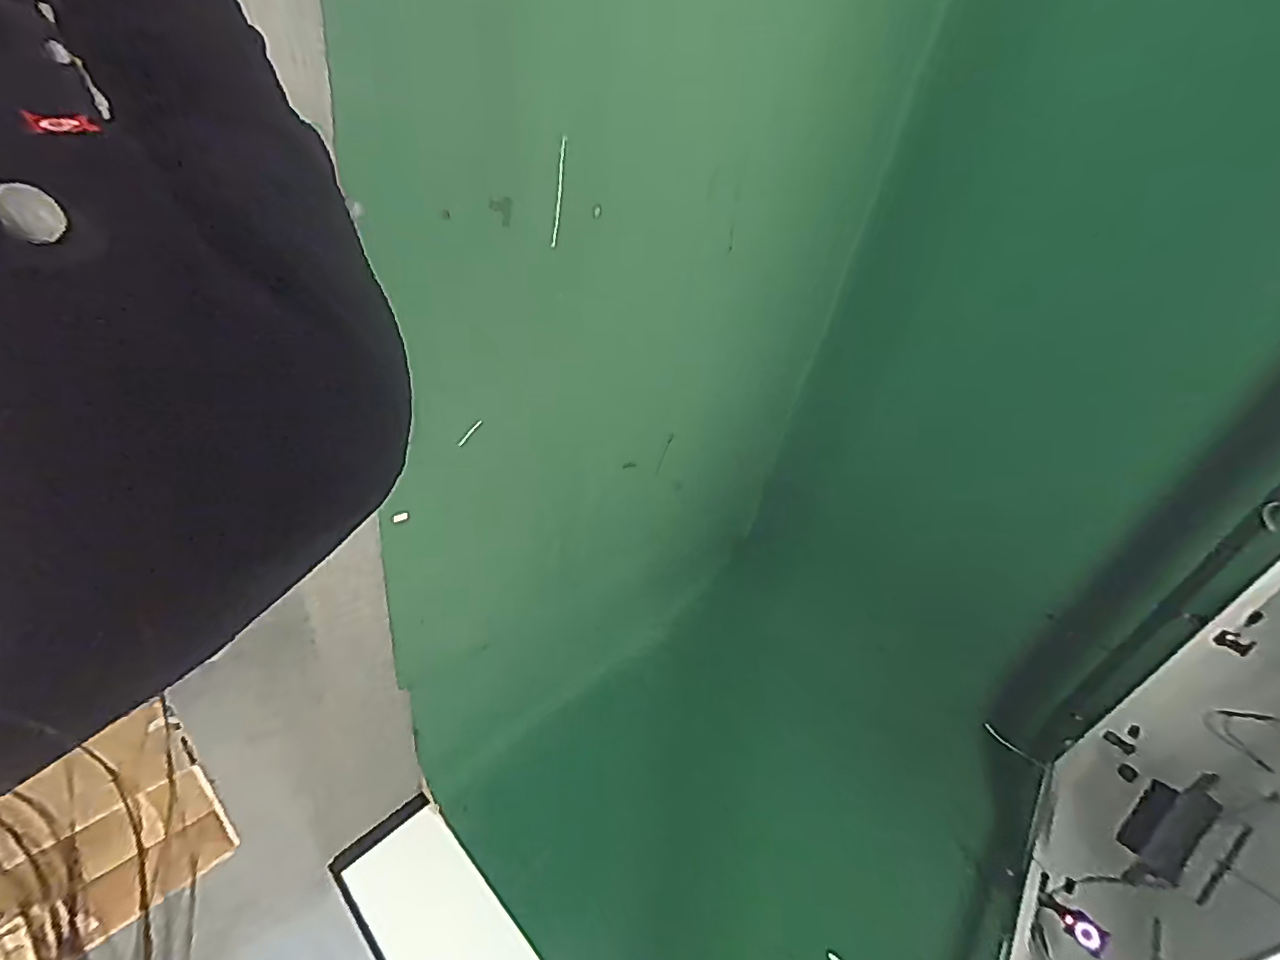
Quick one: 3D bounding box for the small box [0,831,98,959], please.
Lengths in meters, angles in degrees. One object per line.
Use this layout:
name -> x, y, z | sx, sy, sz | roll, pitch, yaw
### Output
small box -> -1.155, 0.788, 0.986 | 0.168, 0.176, 0.179 | -33, 144, -38
